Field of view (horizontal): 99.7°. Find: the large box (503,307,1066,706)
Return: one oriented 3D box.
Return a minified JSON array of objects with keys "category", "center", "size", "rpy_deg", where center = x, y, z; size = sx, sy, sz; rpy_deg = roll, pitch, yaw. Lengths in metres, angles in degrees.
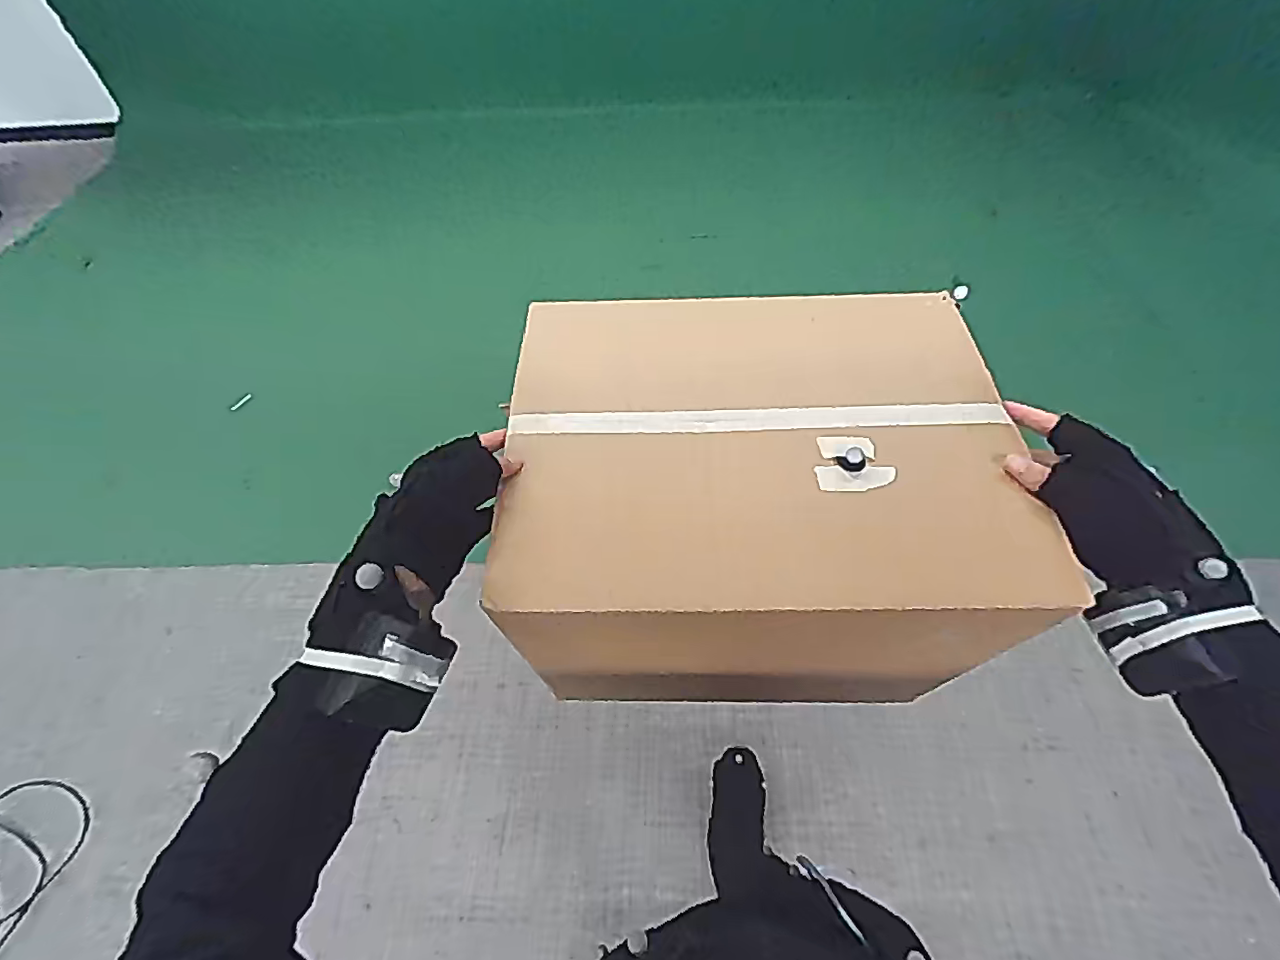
[{"category":"large box","center":[0.101,0.045,0.582],"size":[0.408,0.320,0.320],"rpy_deg":[-2,57,2]}]
